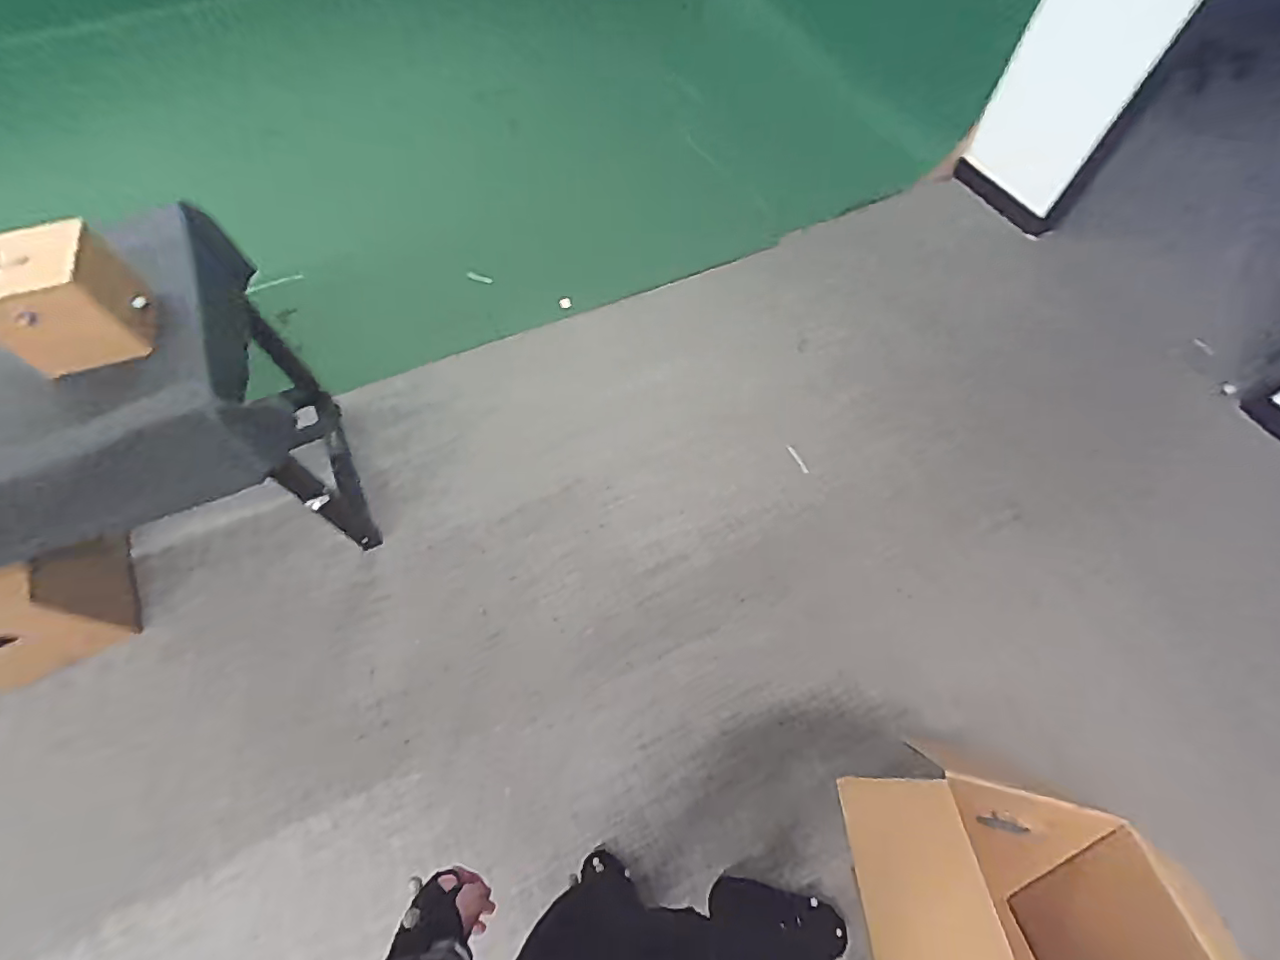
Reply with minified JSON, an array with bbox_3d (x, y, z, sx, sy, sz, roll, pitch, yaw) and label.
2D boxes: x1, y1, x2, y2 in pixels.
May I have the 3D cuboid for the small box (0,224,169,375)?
[{"bbox_3d":[-0.993,-0.311,0.953,0.179,0.176,0.168,-17,63,-9],"label":"small box"}]
